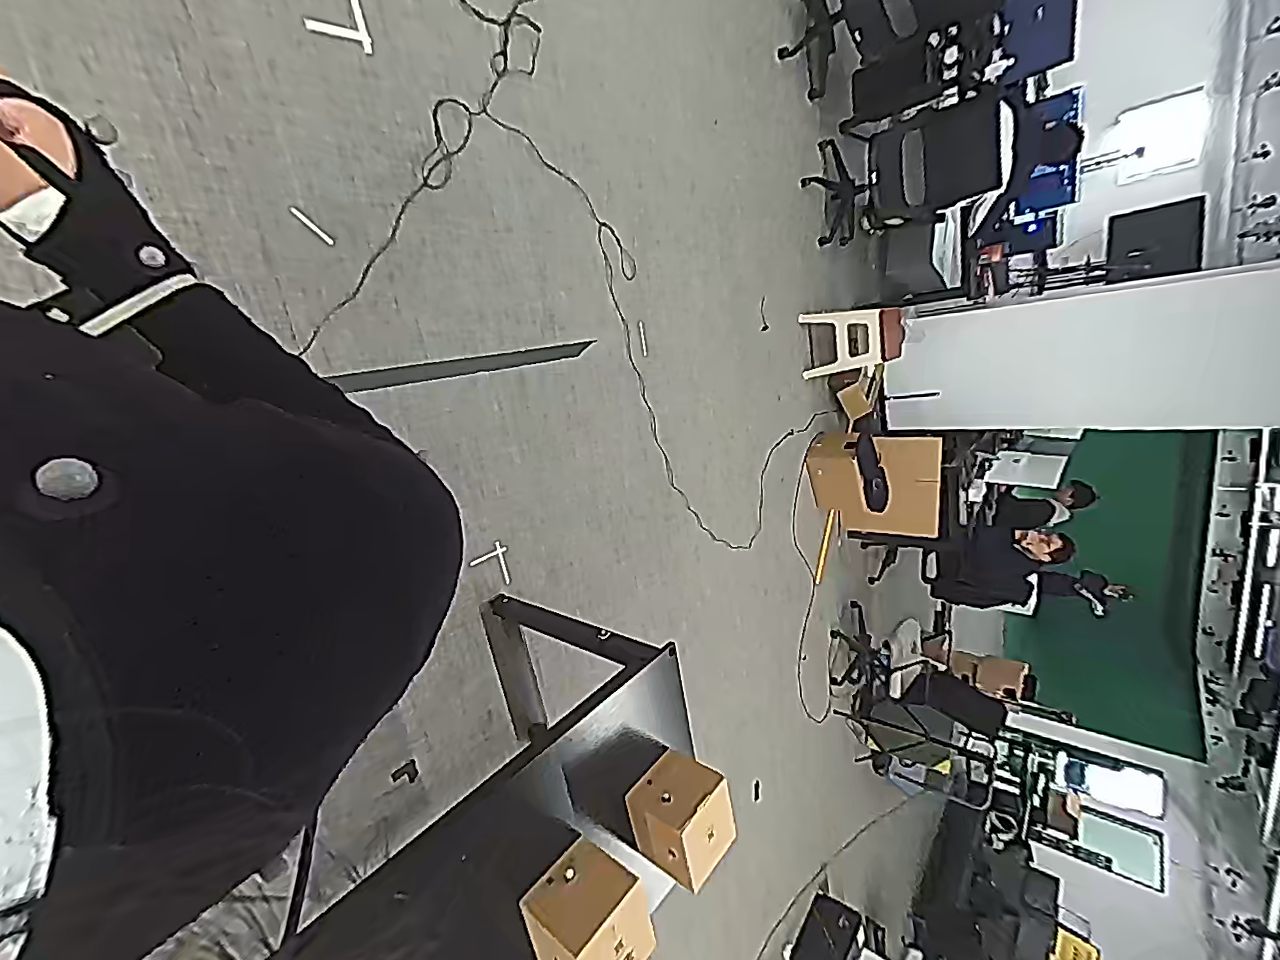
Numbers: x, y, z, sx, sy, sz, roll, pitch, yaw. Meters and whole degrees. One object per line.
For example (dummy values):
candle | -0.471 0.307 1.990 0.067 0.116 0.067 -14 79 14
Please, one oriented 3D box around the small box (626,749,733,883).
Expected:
small box | 0.088 0.749 1.233 0.168 0.176 0.179 -27 113 -42

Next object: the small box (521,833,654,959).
small box | -0.100 0.830 1.031 0.168 0.176 0.179 -27 111 -44
